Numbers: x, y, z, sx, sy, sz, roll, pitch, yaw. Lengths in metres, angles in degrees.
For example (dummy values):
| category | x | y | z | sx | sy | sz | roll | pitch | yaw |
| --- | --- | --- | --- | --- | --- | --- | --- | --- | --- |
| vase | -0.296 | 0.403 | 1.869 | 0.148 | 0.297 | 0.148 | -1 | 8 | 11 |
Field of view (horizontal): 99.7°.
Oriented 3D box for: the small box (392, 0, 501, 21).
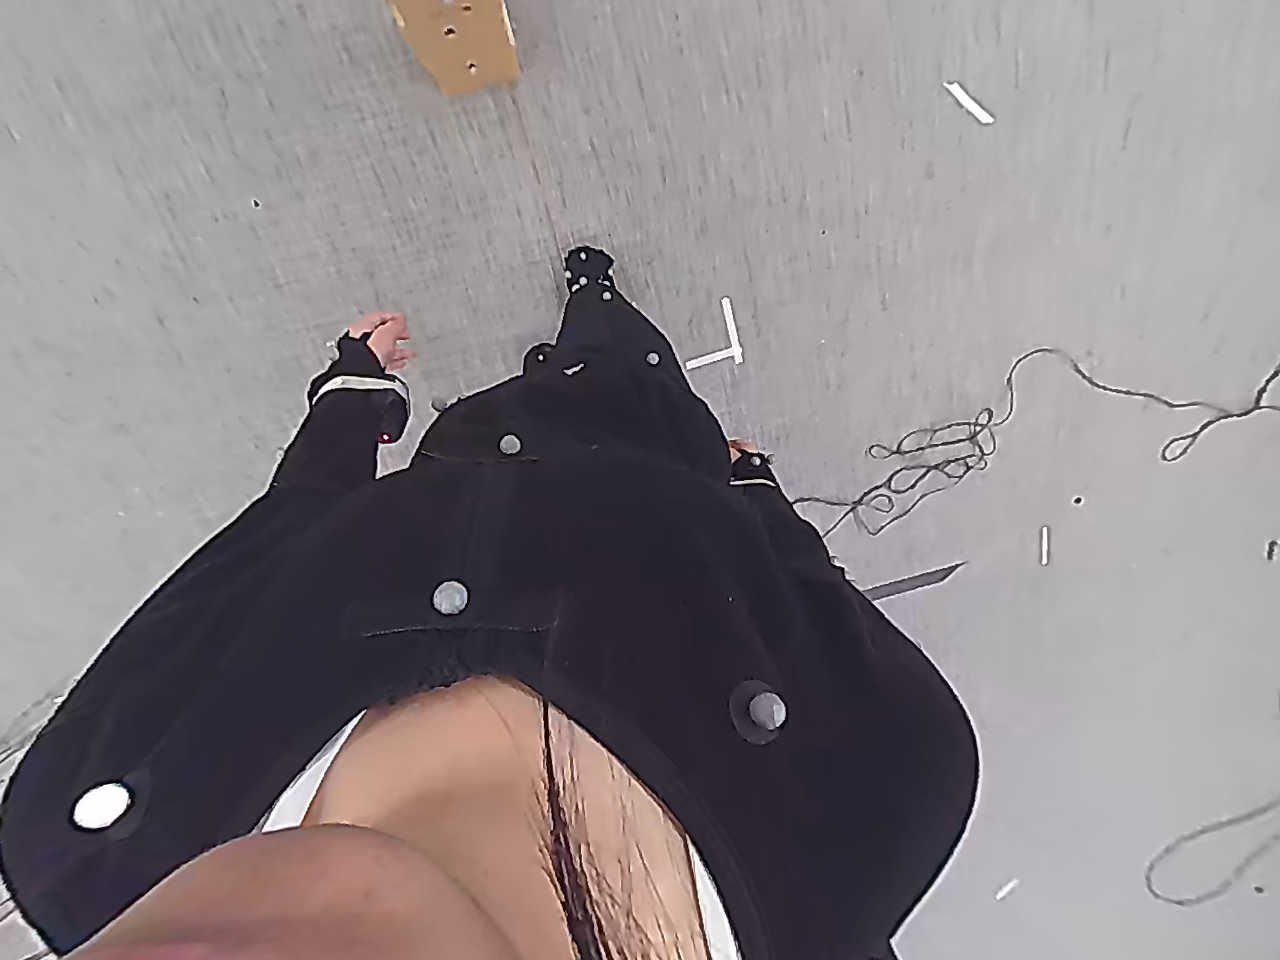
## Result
| category | x | y | z | sx | sy | sz | roll | pitch | yaw |
| --- | --- | --- | --- | --- | --- | --- | --- | --- | --- |
| small box | -0.313 | -0.819 | 0.796 | 0.168 | 0.176 | 0.179 | -14 | 110 | -3 |

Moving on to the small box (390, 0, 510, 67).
| category | x | y | z | sx | sy | sz | roll | pitch | yaw |
| --- | --- | --- | --- | --- | --- | --- | --- | --- | --- |
| small box | -0.341 | -0.864 | 0.951 | 0.179 | 0.176 | 0.168 | -13 | 110 | -3 |

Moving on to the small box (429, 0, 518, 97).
| category | x | y | z | sx | sy | sz | roll | pitch | yaw |
| --- | --- | --- | --- | --- | --- | --- | --- | --- | --- |
| small box | -0.355 | -0.920 | 1.105 | 0.179 | 0.176 | 0.168 | -15 | 109 | -2 |
